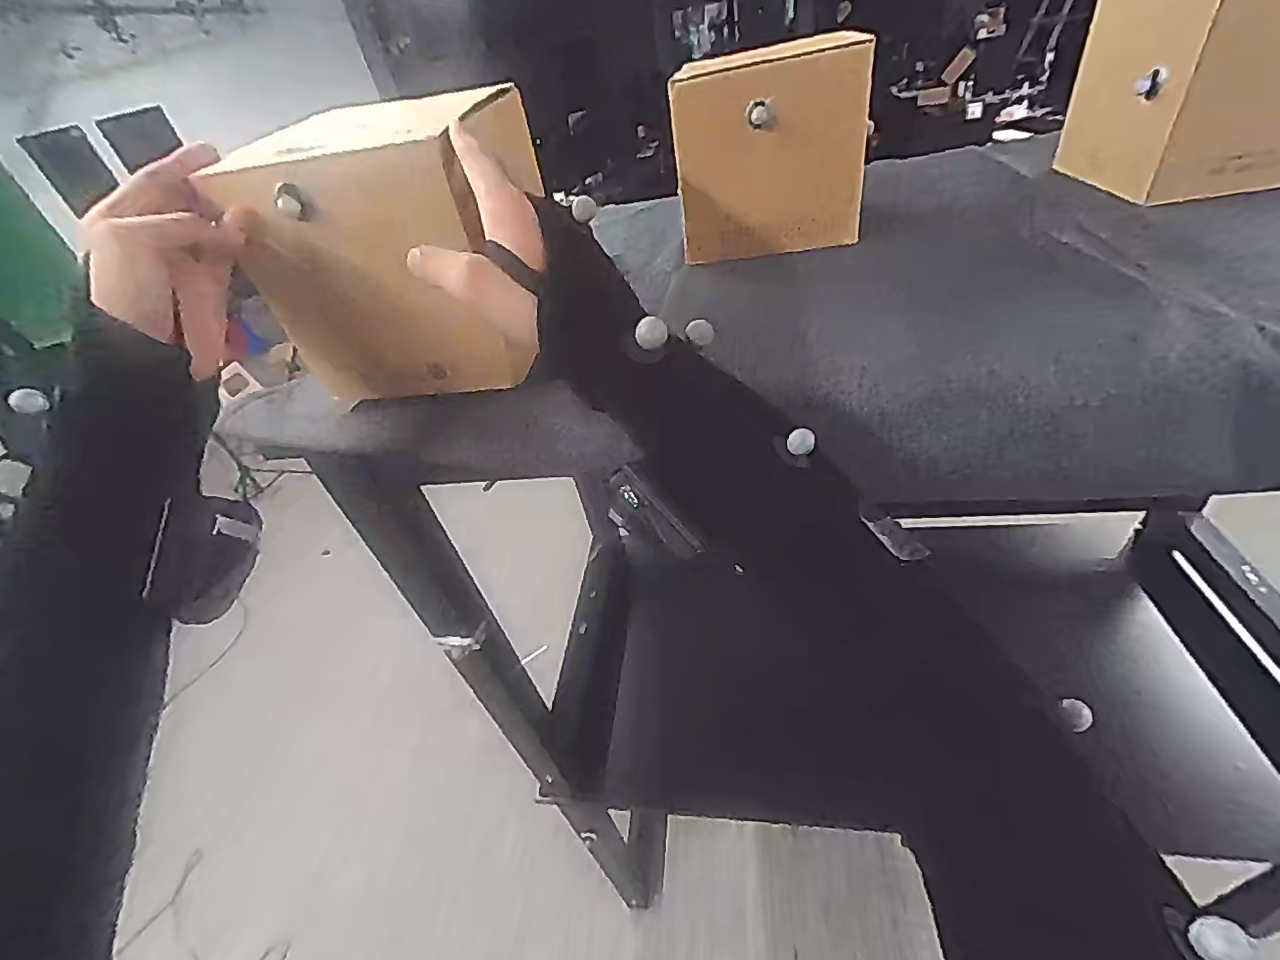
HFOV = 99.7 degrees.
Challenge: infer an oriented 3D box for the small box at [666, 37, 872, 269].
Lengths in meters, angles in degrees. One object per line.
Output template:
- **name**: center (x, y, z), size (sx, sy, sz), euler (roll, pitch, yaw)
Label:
- **small box**: center (0.133, -0.342, 0.574), size (0.179, 0.176, 0.168), euler (-3, 40, 13)

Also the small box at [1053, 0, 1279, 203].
- **small box**: center (0.524, -0.364, 0.489), size (0.168, 0.176, 0.179), euler (-4, 40, 10)

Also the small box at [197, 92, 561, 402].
- **small box**: center (-0.171, -0.181, 0.428), size (0.168, 0.176, 0.179), euler (-3, 43, 11)
